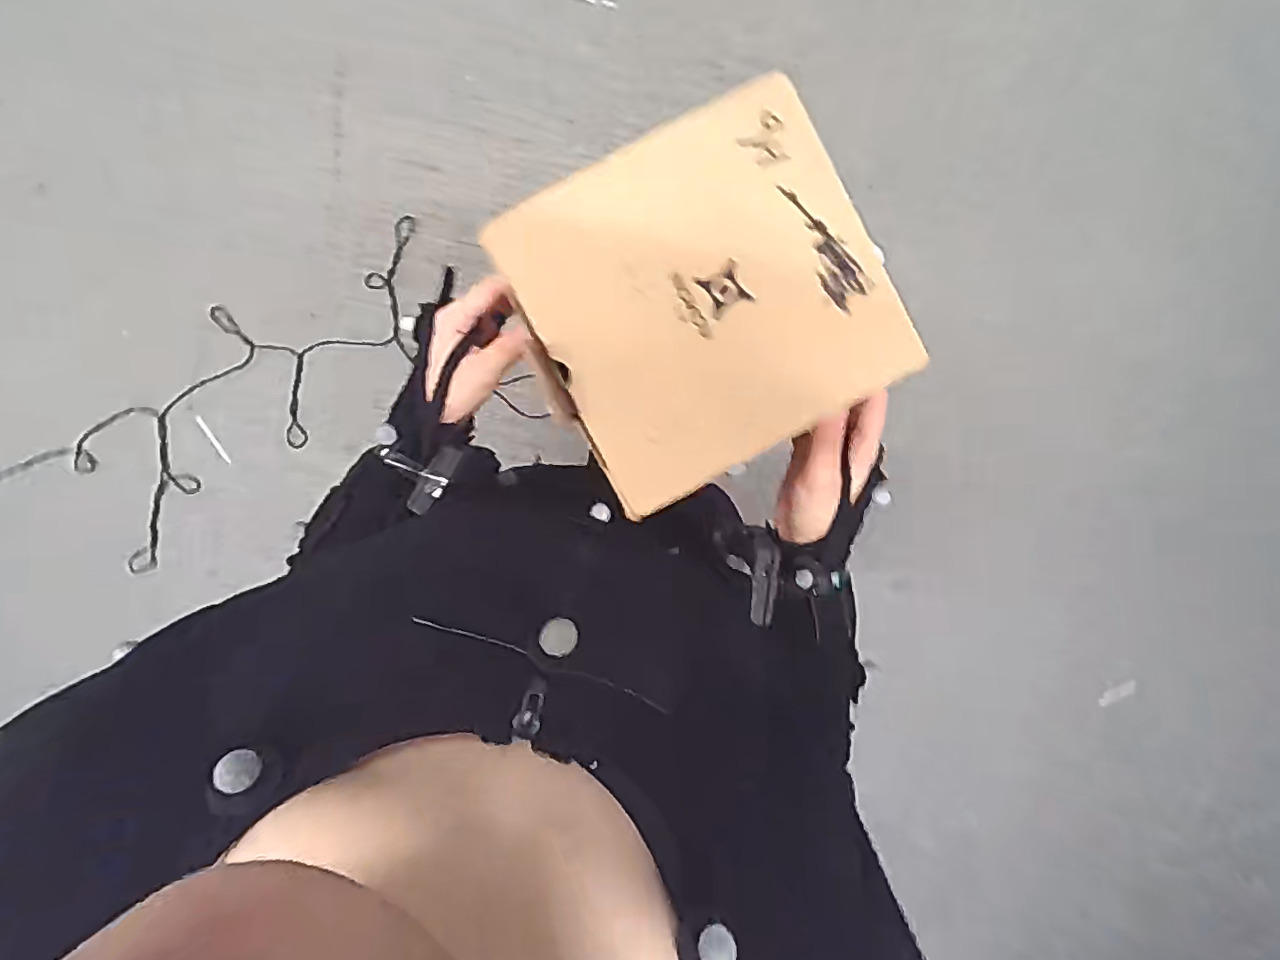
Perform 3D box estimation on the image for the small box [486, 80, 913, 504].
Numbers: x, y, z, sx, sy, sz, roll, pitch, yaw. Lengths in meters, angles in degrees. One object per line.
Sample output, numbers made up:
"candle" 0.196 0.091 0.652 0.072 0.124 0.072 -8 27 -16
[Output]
"small box" 0.031 -0.098 0.360 0.179 0.176 0.168 -28 93 0
